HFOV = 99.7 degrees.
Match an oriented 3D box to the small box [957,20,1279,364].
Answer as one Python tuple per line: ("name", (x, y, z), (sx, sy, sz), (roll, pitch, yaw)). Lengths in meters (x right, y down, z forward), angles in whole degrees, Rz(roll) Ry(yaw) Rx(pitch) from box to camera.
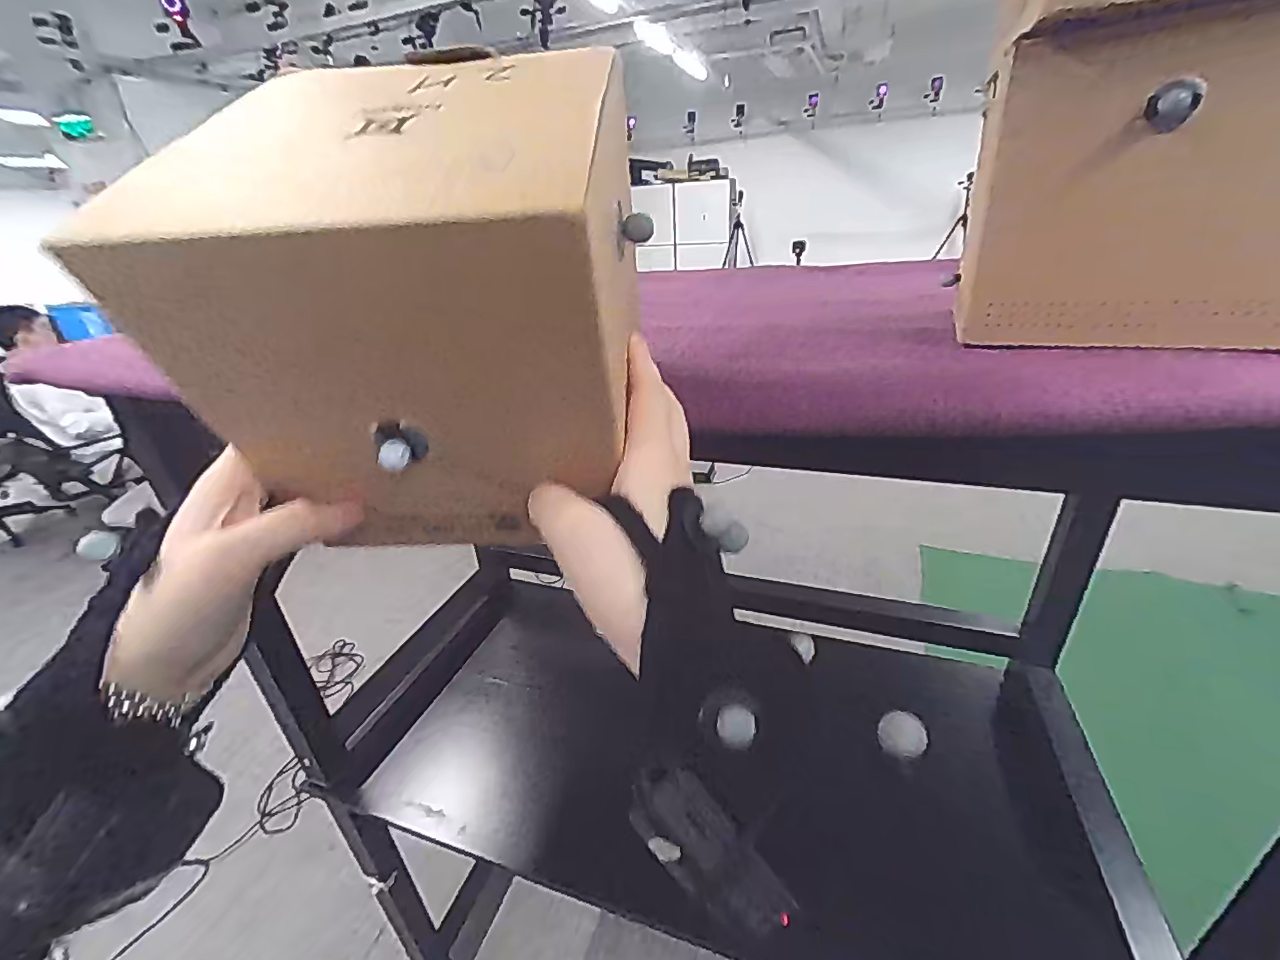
("small box", (0.320, -0.176, 0.358), (0.179, 0.176, 0.168), (9, 28, 25))

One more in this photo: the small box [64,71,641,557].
("small box", (-0.087, -0.073, 0.271), (0.168, 0.176, 0.179), (-1, 51, 3))

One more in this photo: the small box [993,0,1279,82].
("small box", (0.302, -0.317, 0.278), (0.179, 0.176, 0.168), (6, 27, 21))
